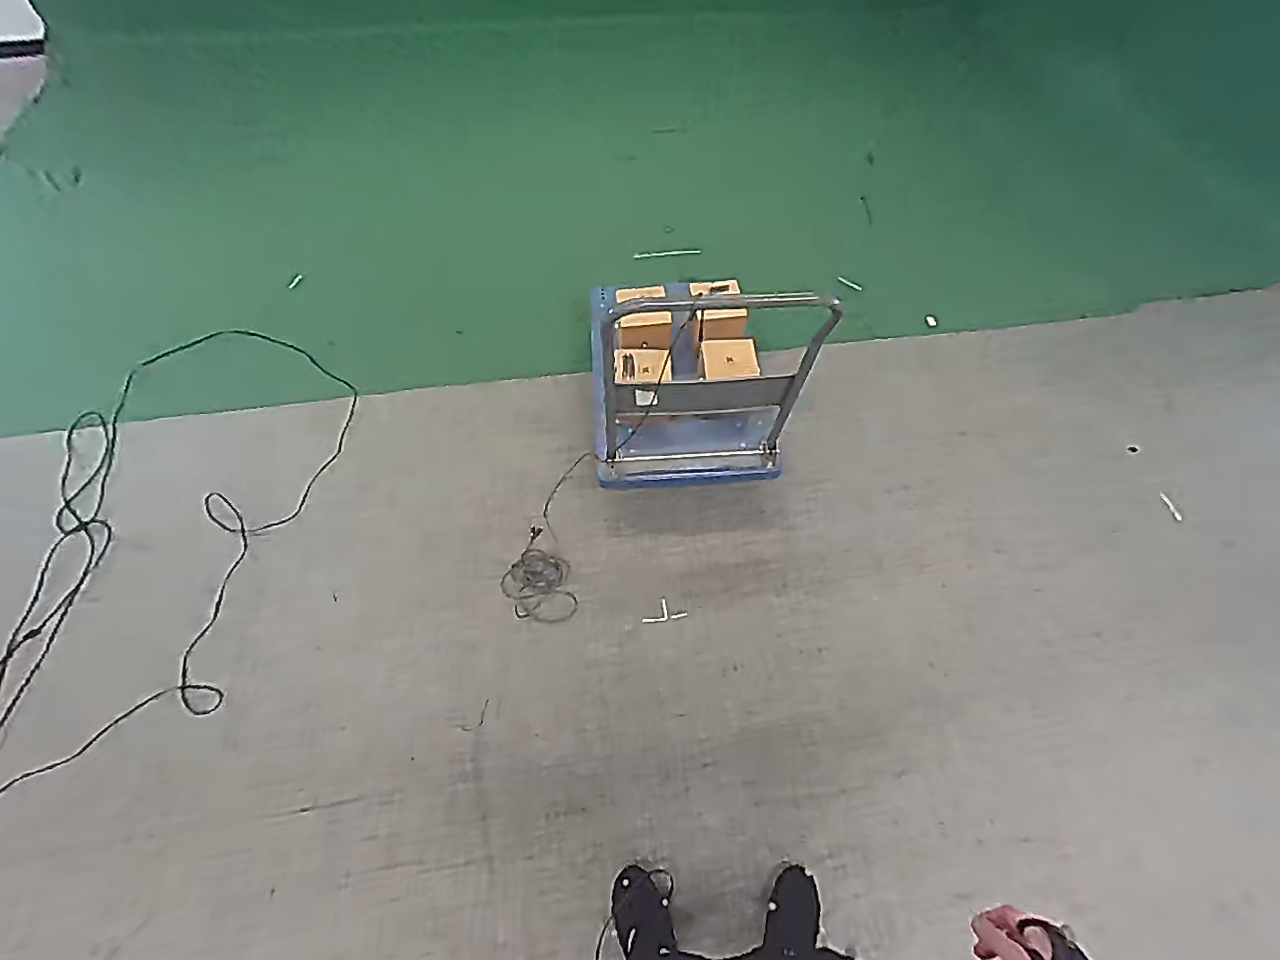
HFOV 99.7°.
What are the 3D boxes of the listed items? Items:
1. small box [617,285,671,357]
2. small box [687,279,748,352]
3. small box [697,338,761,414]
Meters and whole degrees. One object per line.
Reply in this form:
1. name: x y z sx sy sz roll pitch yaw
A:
1. small box: 0.012 -0.537 1.847 0.168 0.176 0.179 -6 60 -5
2. small box: 0.261 -0.566 1.866 0.168 0.176 0.179 -6 61 -3
3. small box: 0.280 -0.332 1.732 0.168 0.176 0.179 -2 61 -2
